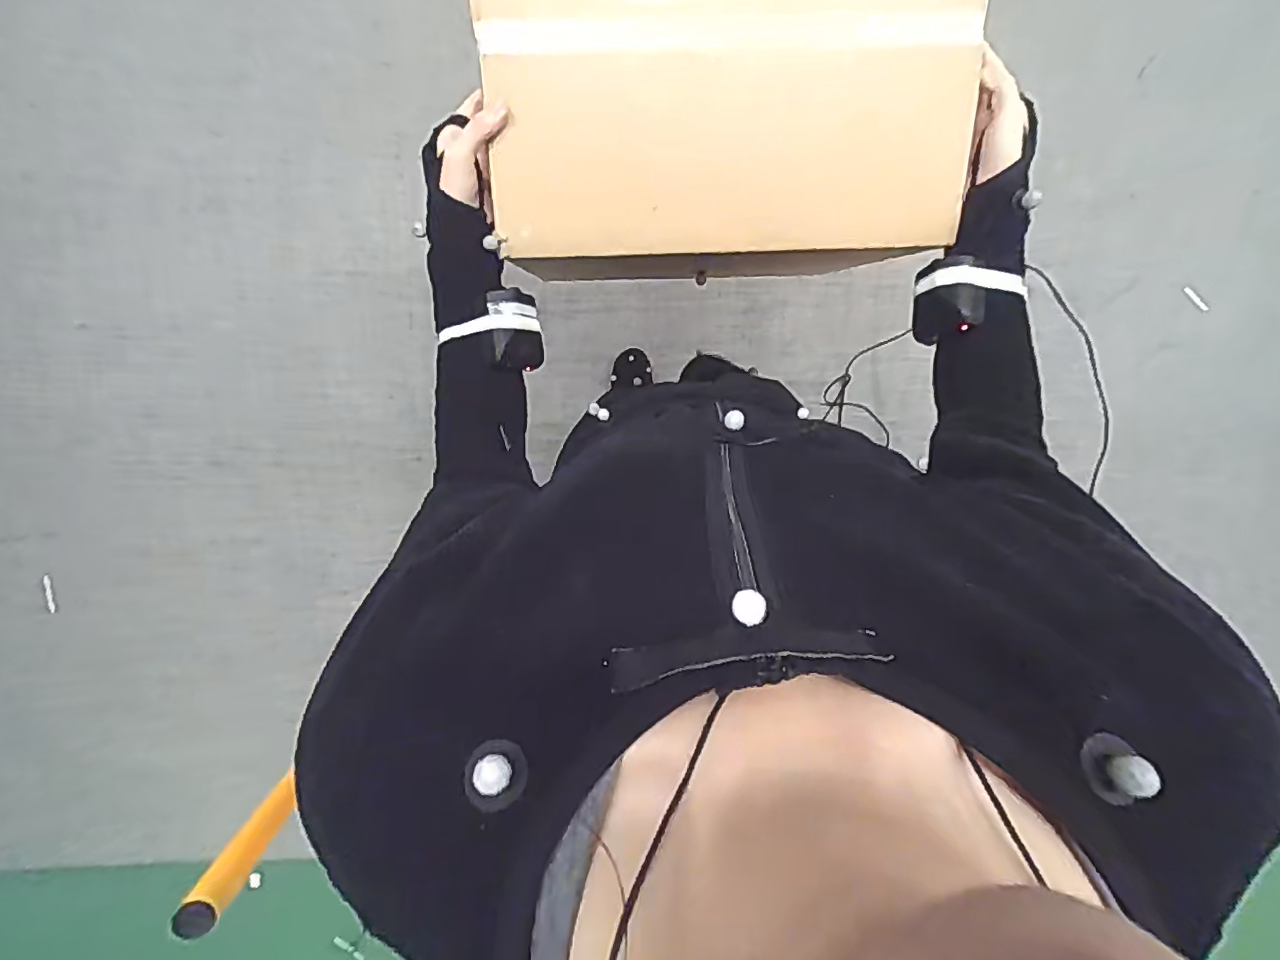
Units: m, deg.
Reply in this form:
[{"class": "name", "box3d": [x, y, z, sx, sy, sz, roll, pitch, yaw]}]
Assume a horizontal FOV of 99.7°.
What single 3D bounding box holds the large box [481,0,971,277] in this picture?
[{"class": "large box", "box3d": [0.069, -0.399, 0.587, 0.408, 0.320, 0.320, -2, 106, -1]}]
